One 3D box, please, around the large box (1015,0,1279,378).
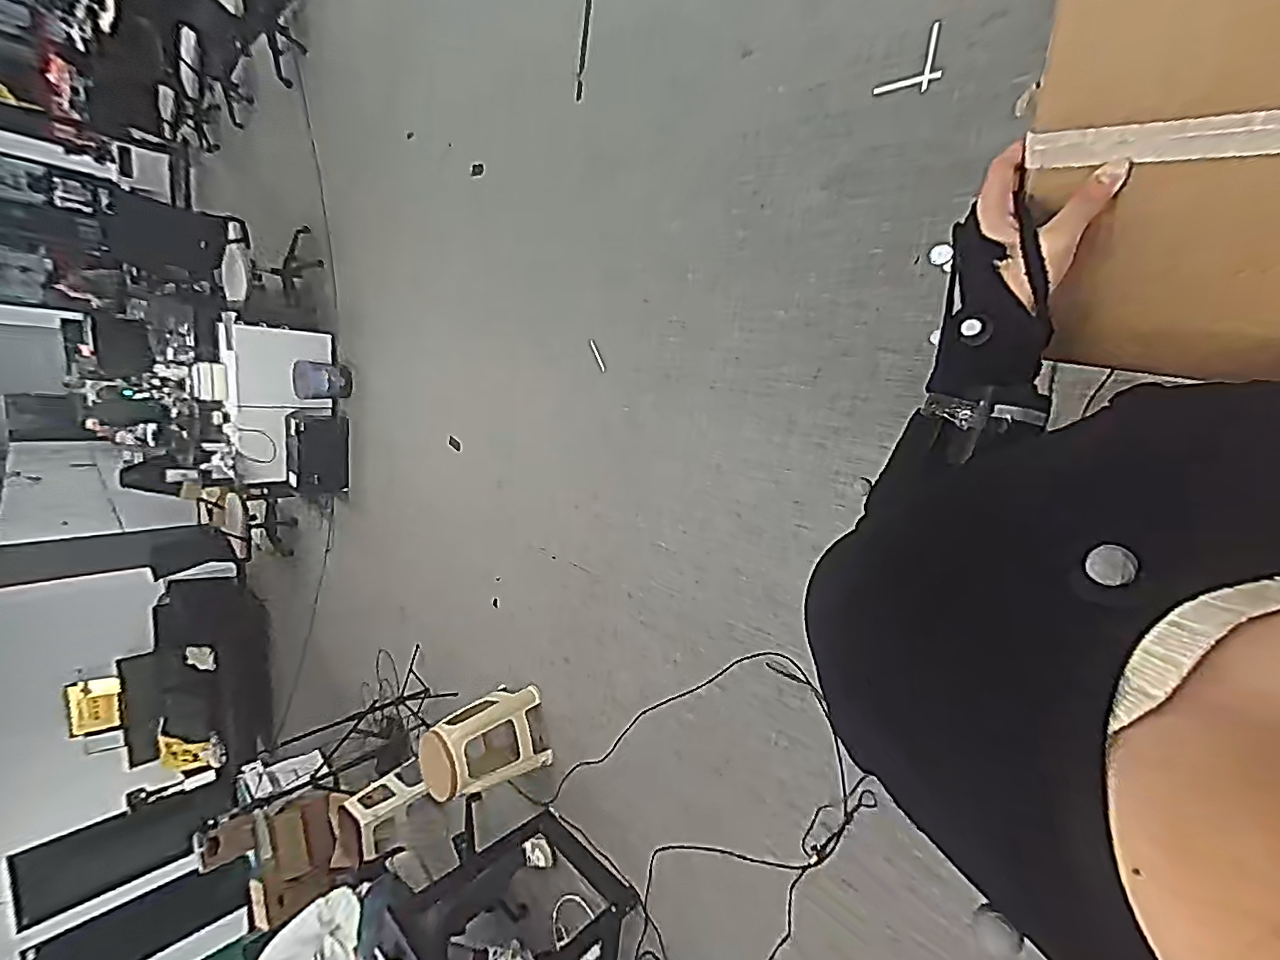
[{"bbox_3d":[0.502,-0.260,0.297,0.408,0.320,0.320,21,146,41],"label":"large box"}]
